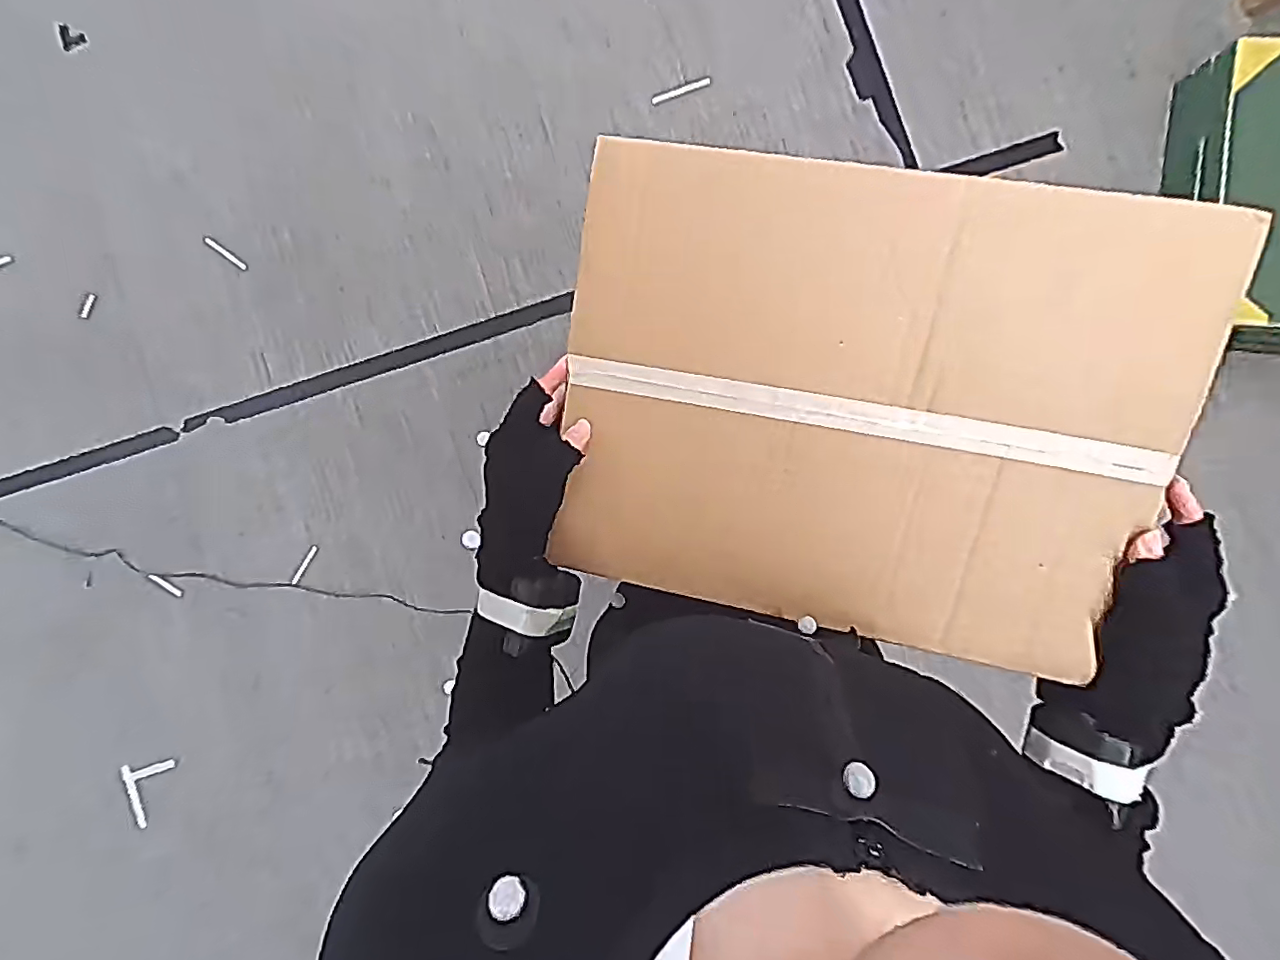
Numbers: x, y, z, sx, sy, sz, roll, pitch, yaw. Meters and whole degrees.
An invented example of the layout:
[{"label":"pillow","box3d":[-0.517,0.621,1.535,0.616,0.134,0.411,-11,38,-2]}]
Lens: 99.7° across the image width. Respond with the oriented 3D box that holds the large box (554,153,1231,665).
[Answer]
[{"label":"large box","box3d":[0.167,-0.075,0.528,0.408,0.320,0.320,12,104,8]}]
